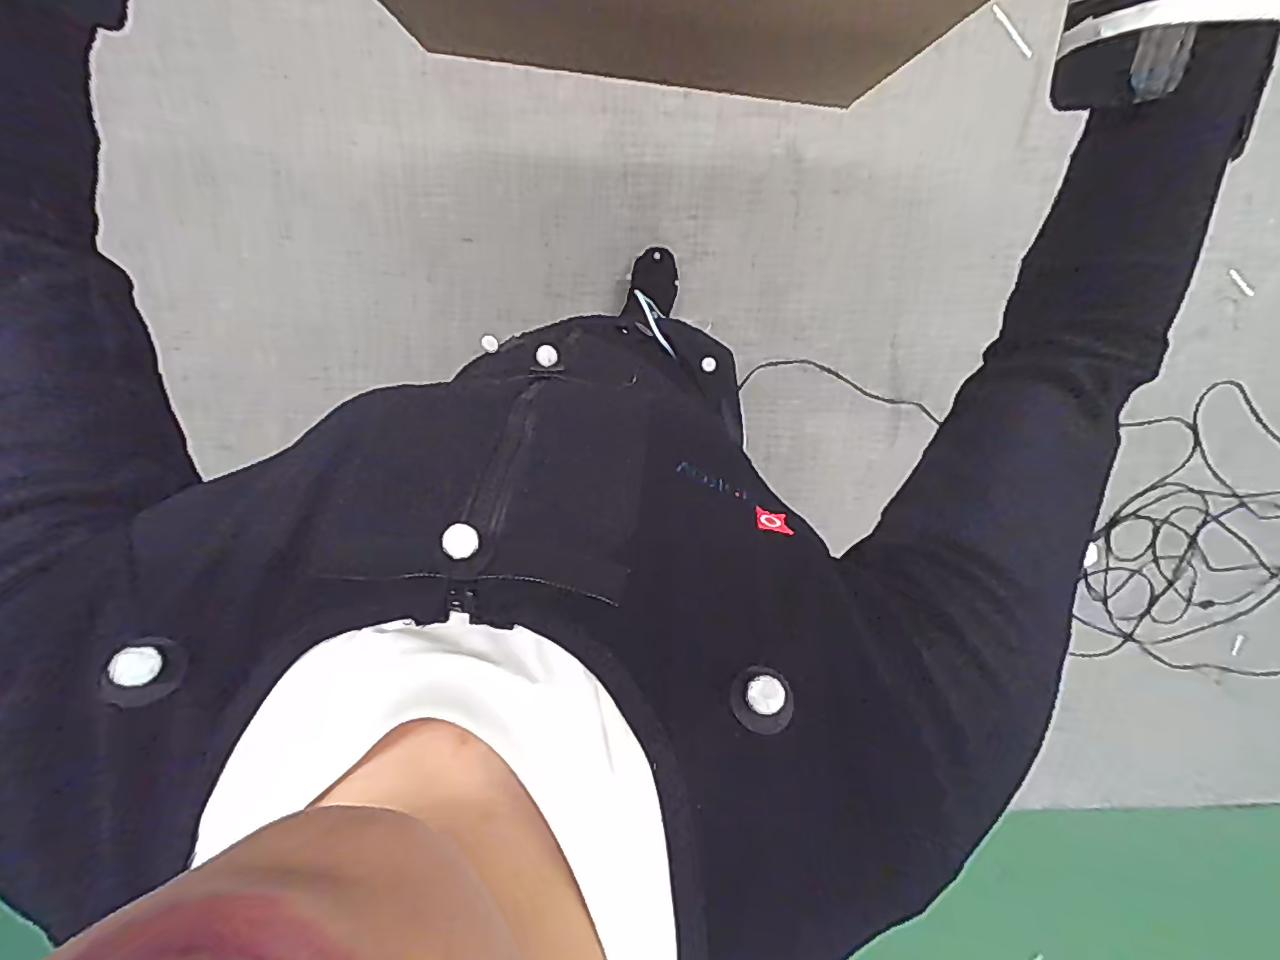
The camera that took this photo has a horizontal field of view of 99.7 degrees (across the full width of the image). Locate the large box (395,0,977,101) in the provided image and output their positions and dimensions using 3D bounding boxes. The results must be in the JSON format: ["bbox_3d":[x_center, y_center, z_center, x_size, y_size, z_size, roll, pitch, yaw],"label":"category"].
[{"bbox_3d":[0.025,-0.468,0.324,0.408,0.320,0.320,5,112,-3],"label":"large box"}]
